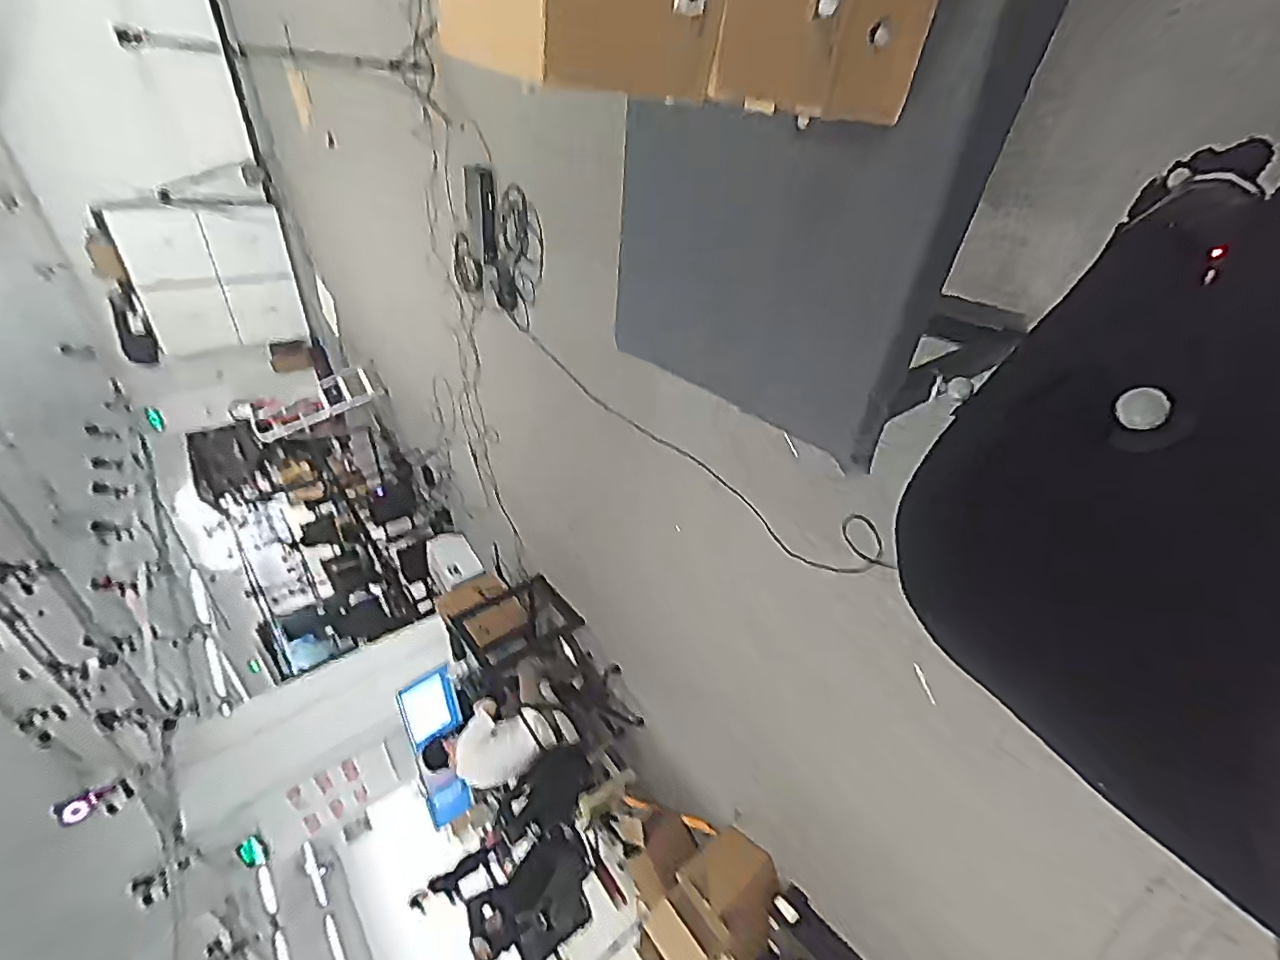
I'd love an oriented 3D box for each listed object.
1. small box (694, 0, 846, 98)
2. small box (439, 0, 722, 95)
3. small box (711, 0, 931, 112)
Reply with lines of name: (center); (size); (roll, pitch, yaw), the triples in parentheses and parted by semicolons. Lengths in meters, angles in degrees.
small box: (0.077, -0.470, 0.511); (0.179, 0.176, 0.168); (40, 138, 39)
small box: (-0.048, -0.416, 0.424); (0.179, 0.176, 0.168); (42, 141, 33)
small box: (0.204, -0.523, 0.601); (0.168, 0.176, 0.179); (40, 139, 36)
